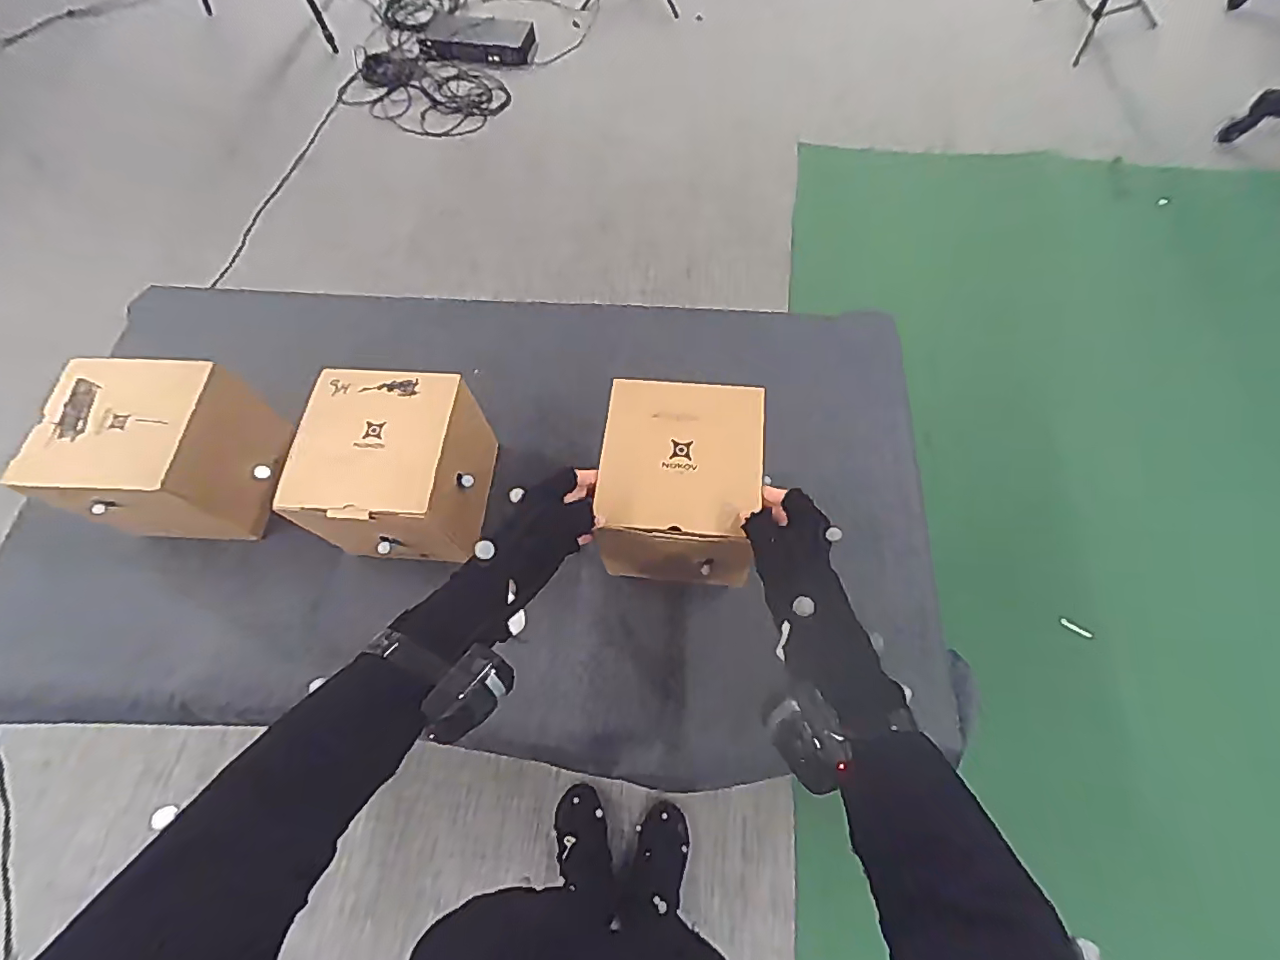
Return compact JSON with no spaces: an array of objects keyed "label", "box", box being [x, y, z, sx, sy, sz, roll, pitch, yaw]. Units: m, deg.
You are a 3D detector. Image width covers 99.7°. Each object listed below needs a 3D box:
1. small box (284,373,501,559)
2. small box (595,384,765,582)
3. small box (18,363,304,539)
[{"label":"small box","box":[-0.282,-0.009,0.663,0.168,0.176,0.179,3,66,3]},{"label":"small box","box":[0.050,0.011,0.629,0.168,0.176,0.179,4,64,5]},{"label":"small box","box":[-0.574,-0.029,0.679,0.179,0.176,0.168,2,66,1]}]
